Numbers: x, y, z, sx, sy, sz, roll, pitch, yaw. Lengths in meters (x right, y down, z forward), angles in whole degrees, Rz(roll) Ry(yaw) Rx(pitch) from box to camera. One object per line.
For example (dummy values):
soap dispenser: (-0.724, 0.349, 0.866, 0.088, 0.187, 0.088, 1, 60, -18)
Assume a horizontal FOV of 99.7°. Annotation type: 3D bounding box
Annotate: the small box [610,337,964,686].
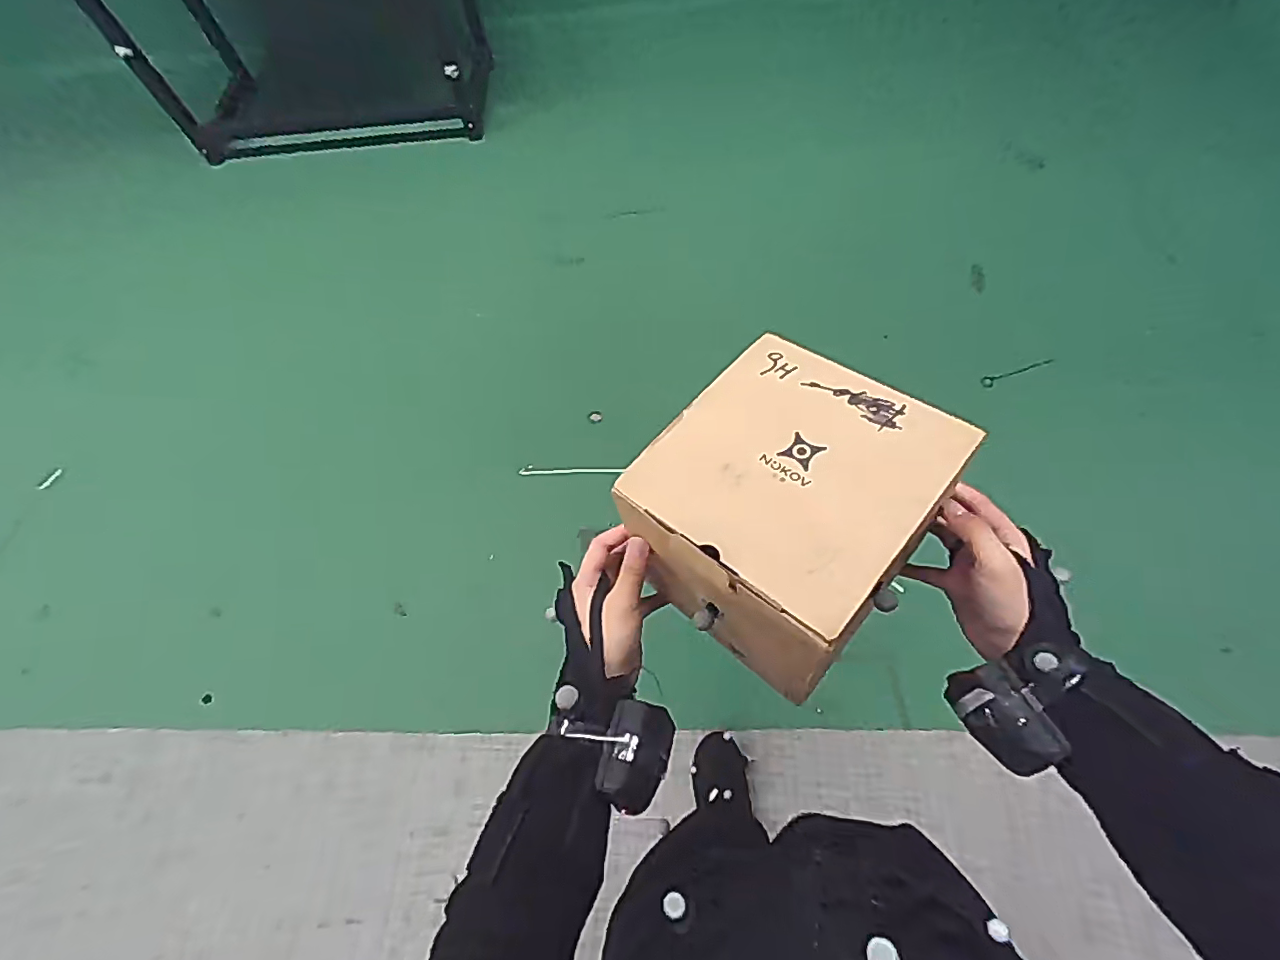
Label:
small box: (0.107, 0.031, 0.422, 0.168, 0.176, 0.179, 35, 70, 28)
